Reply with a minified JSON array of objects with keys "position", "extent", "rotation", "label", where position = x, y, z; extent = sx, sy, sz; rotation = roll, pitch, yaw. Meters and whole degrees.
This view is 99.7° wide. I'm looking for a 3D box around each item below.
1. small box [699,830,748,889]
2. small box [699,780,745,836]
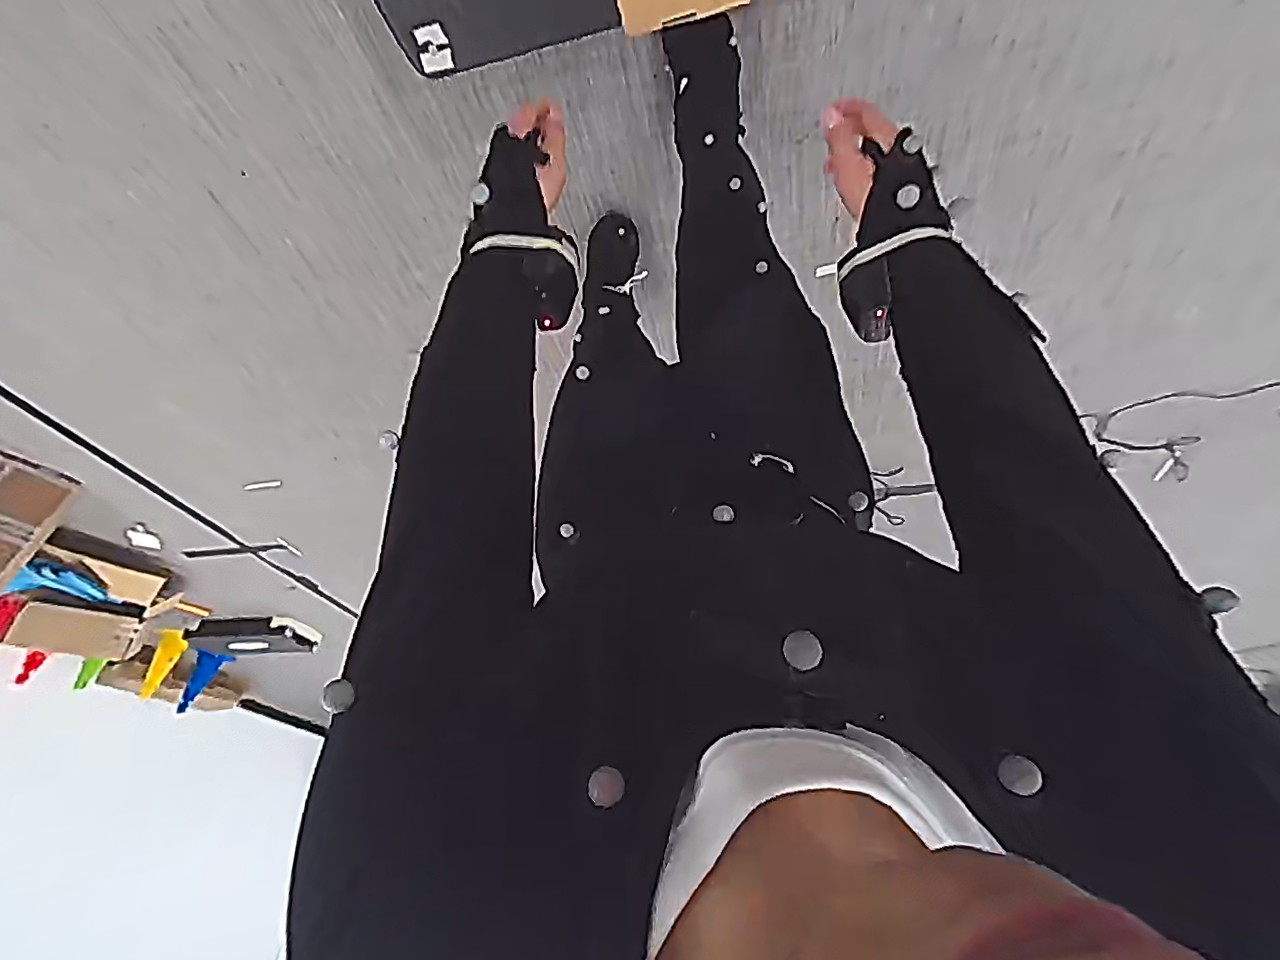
[{"position":[0.315,1.424,2.028],"extent":[0.168,0.176,0.179],"rotation":[-7,141,10],"label":"small box"},{"position":[0.324,1.293,2.128],"extent":[0.168,0.176,0.179],"rotation":[-6,141,10],"label":"small box"}]
